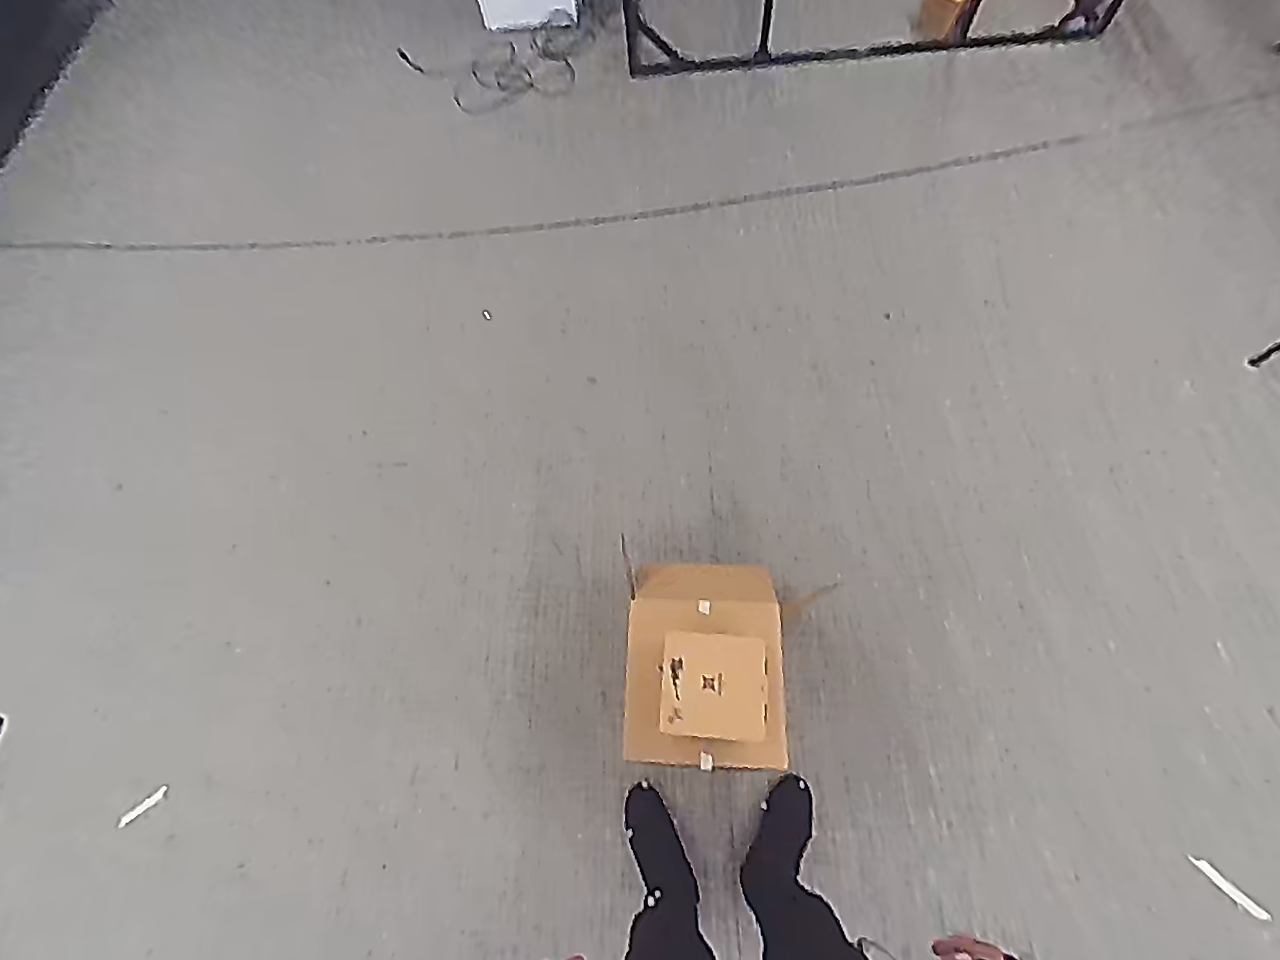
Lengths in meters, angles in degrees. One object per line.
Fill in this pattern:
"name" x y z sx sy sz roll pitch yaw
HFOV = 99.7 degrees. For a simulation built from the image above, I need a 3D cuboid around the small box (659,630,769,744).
"small box" 0.129 0.368 0.972 0.179 0.176 0.168 4 68 5
